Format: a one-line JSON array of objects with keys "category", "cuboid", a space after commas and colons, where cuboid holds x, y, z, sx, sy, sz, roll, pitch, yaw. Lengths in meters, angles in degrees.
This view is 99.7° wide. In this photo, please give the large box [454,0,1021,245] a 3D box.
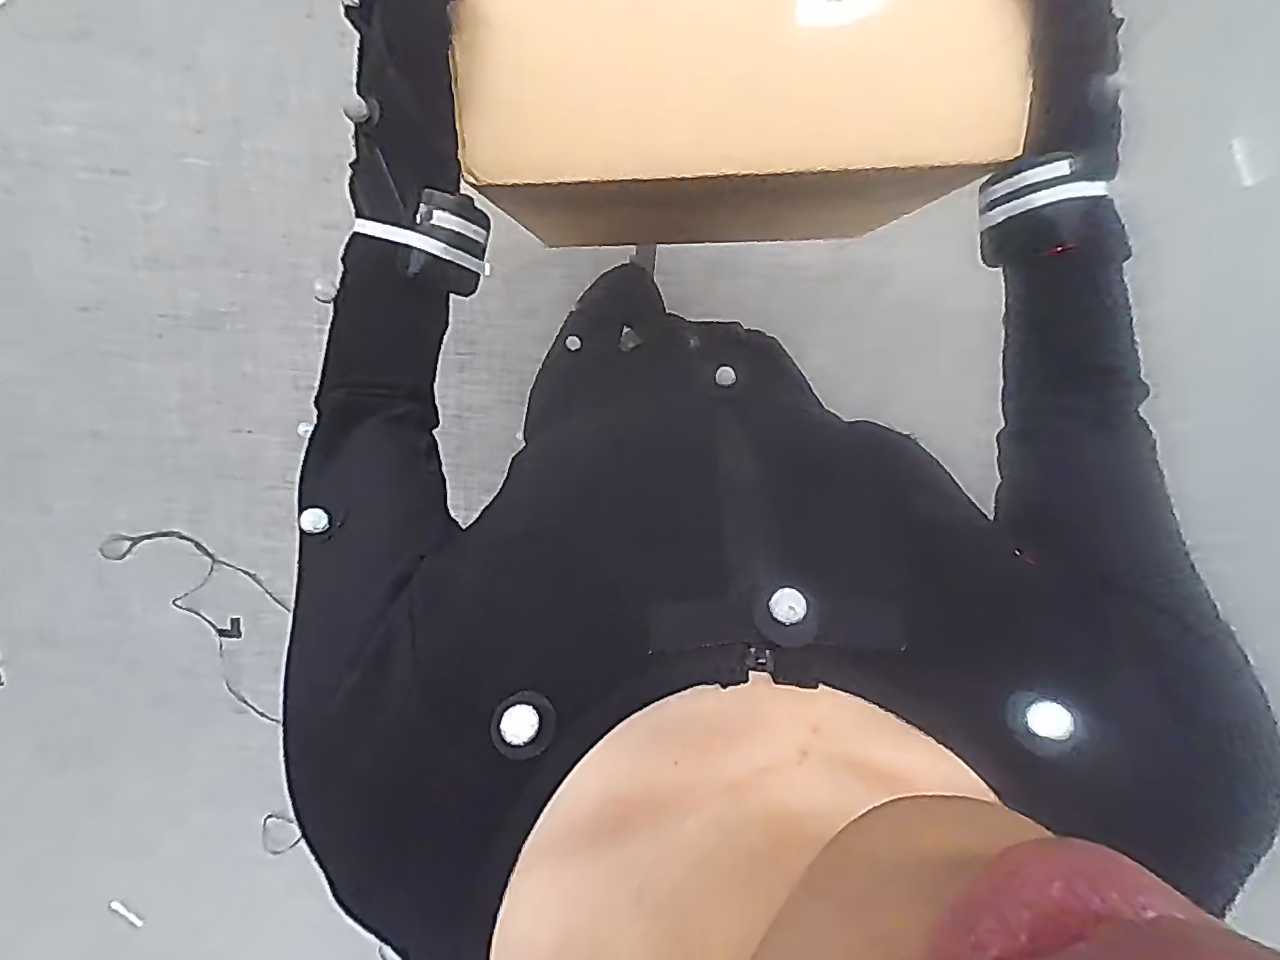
[{"category": "large box", "cuboid": [0.066, -0.422, 0.509, 0.408, 0.320, 0.320, -1, 105, 2]}]
